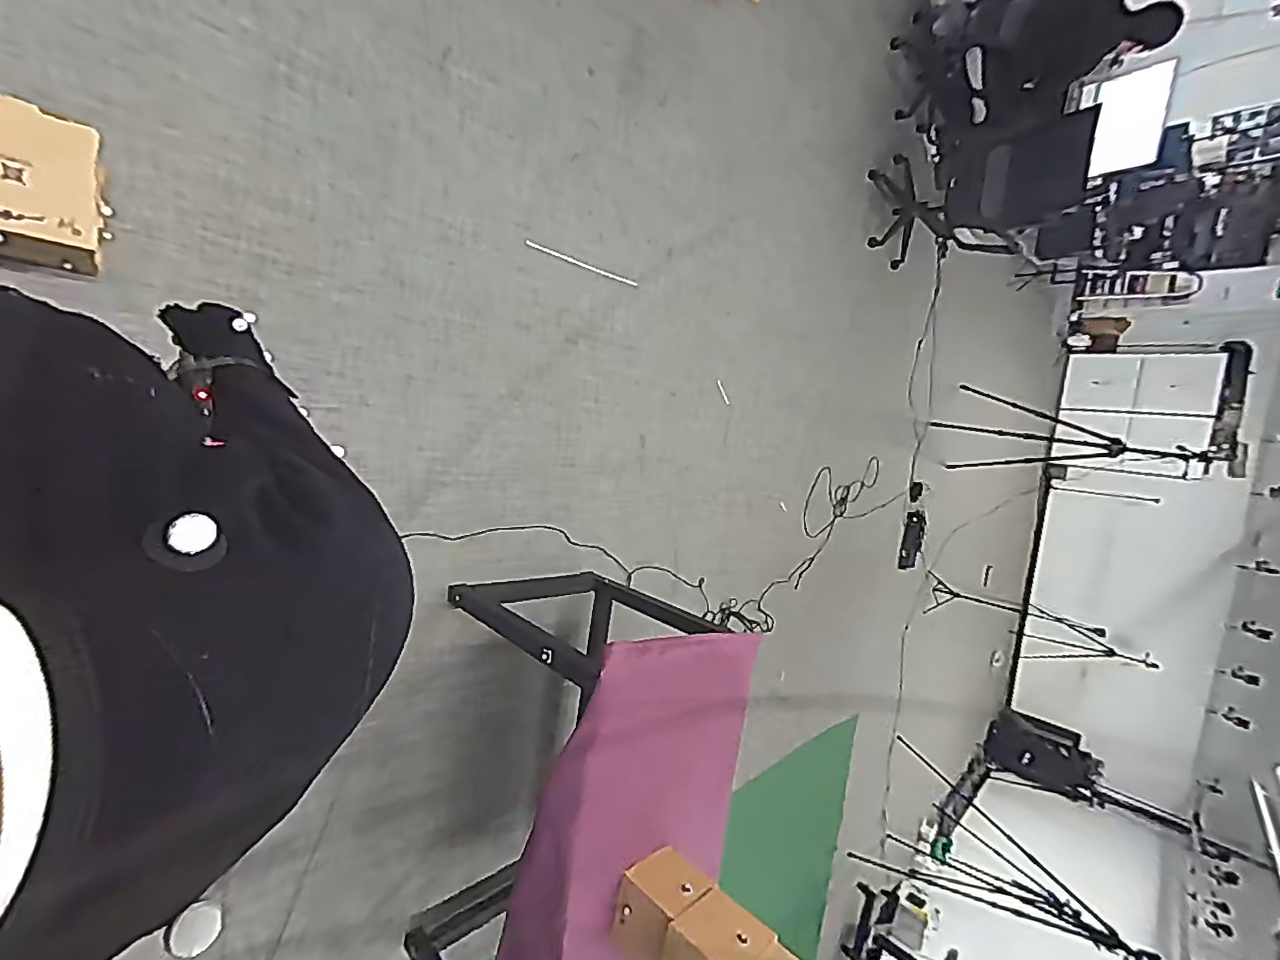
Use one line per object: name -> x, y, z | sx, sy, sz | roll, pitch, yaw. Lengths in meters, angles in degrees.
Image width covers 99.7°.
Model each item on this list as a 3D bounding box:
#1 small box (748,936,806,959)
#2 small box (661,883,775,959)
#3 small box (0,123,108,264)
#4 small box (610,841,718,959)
small box -> 0.272, 1.054, 1.047 | 0.179, 0.176, 0.168 | 8, 92, -47
small box -> 0.163, 1.027, 1.167 | 0.179, 0.176, 0.168 | 7, 92, -46
small box -> -1.027, -0.478, 0.913 | 0.179, 0.176, 0.168 | 2, 97, -46
small box -> 0.057, 1.010, 1.291 | 0.179, 0.176, 0.168 | 10, 91, -46
